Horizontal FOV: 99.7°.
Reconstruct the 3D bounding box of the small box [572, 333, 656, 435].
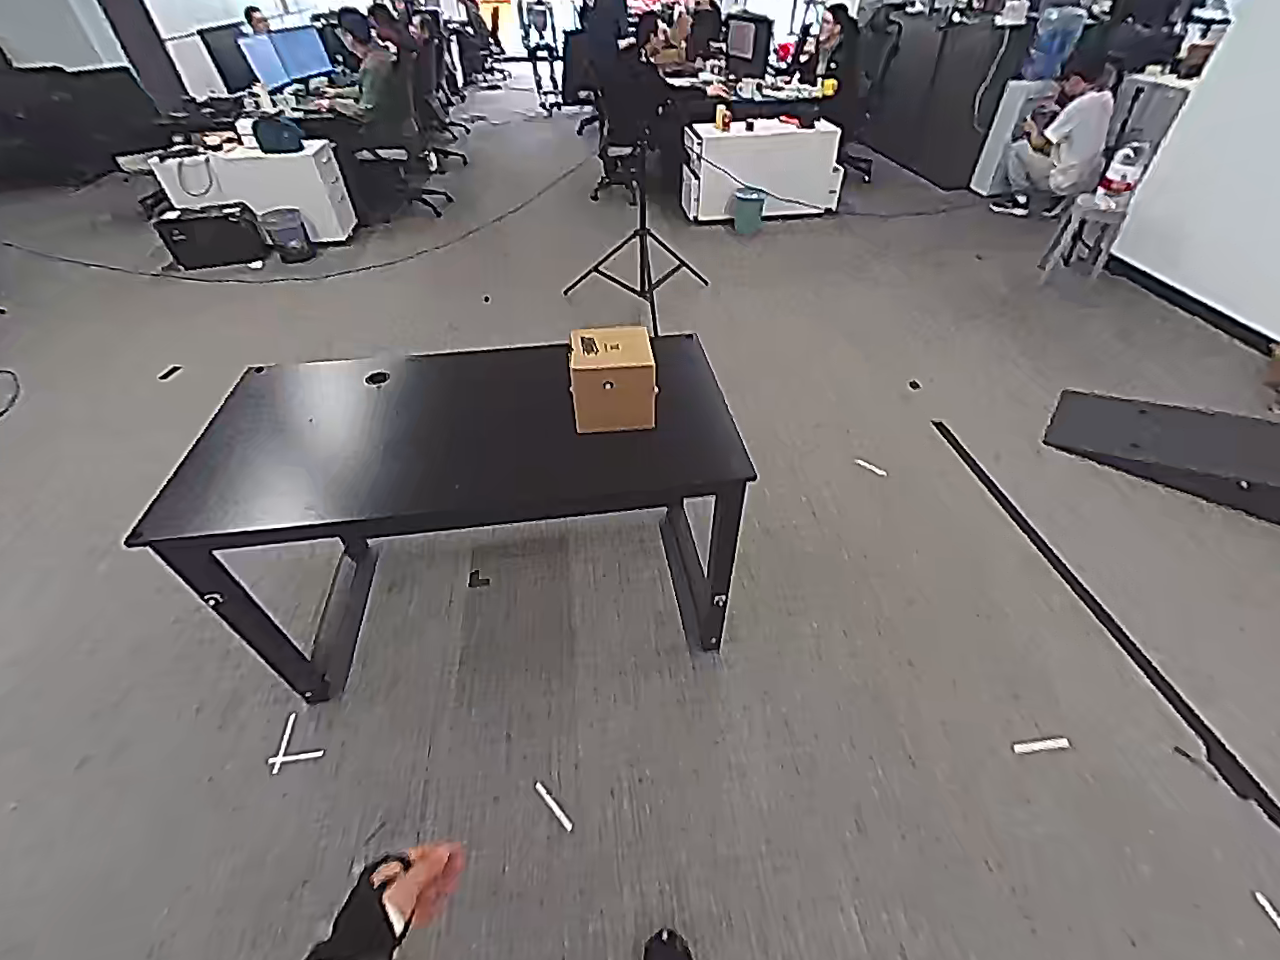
[{"bbox_3d":[-0.058,-0.216,1.233,0.179,0.176,0.168,-4,43,-4],"label":"small box"}]
